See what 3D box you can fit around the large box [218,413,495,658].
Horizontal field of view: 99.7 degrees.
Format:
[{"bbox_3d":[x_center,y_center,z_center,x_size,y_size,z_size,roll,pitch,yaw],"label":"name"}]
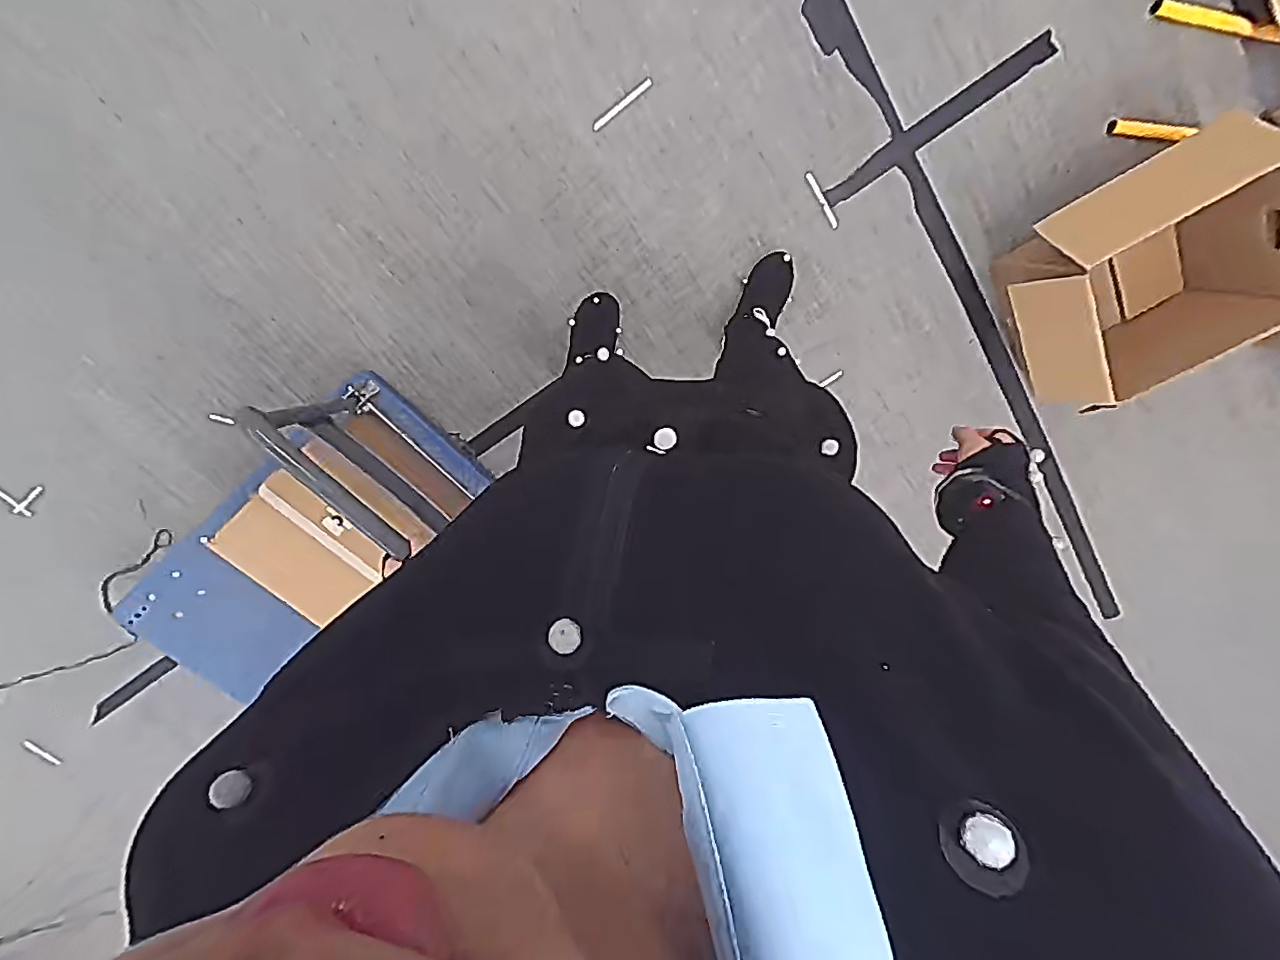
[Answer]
[{"bbox_3d":[-0.593,0.108,1.226,0.320,0.320,0.408,-44,107,2],"label":"large box"}]
